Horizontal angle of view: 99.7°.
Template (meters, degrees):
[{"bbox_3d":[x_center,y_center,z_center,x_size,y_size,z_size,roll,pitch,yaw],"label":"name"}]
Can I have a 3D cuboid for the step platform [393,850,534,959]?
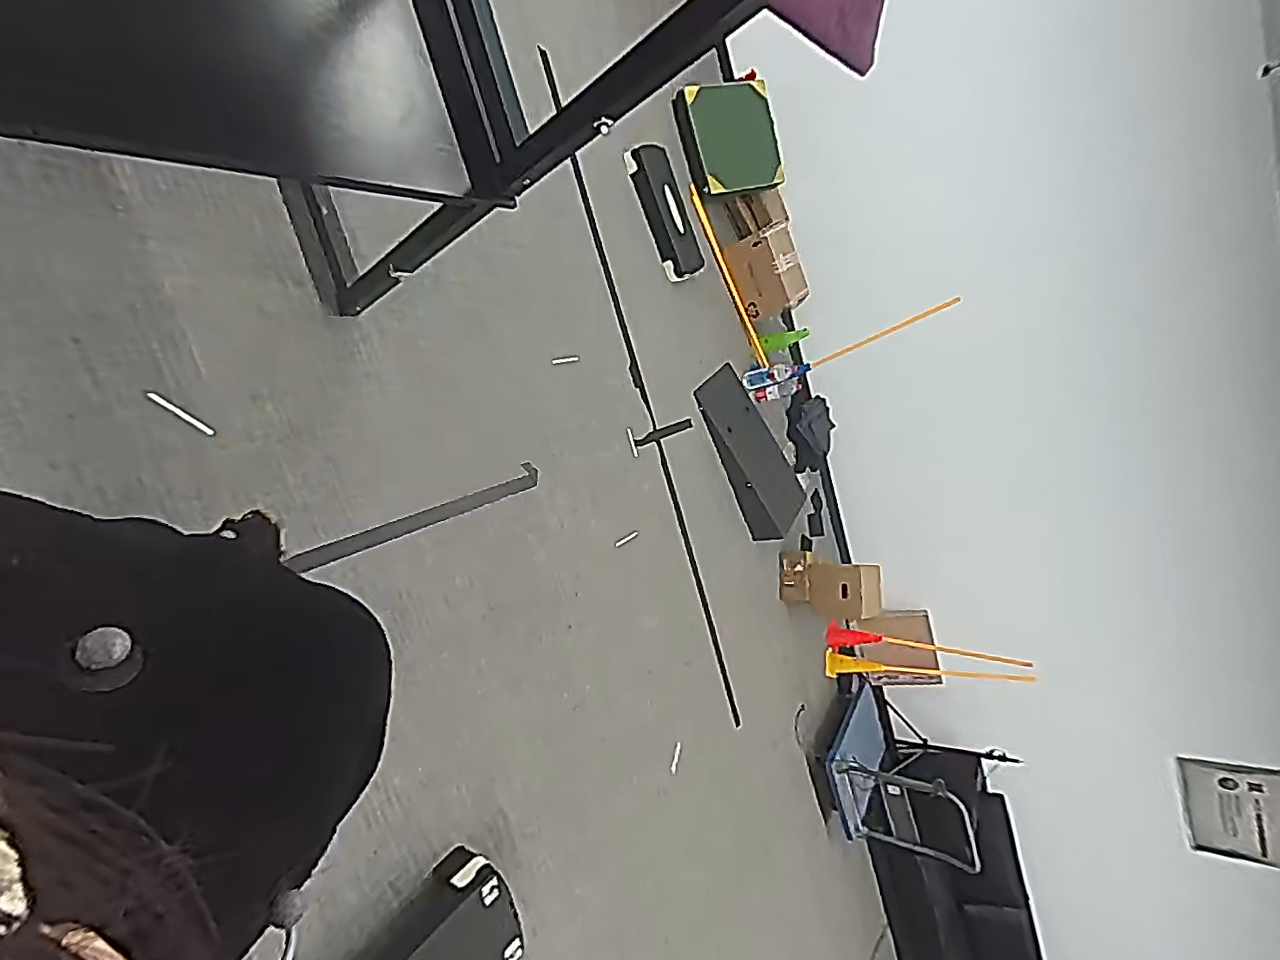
[{"bbox_3d":[-0.578,1.274,1.324,0.684,0.204,0.286,-16,95,-52],"label":"step platform"}]
